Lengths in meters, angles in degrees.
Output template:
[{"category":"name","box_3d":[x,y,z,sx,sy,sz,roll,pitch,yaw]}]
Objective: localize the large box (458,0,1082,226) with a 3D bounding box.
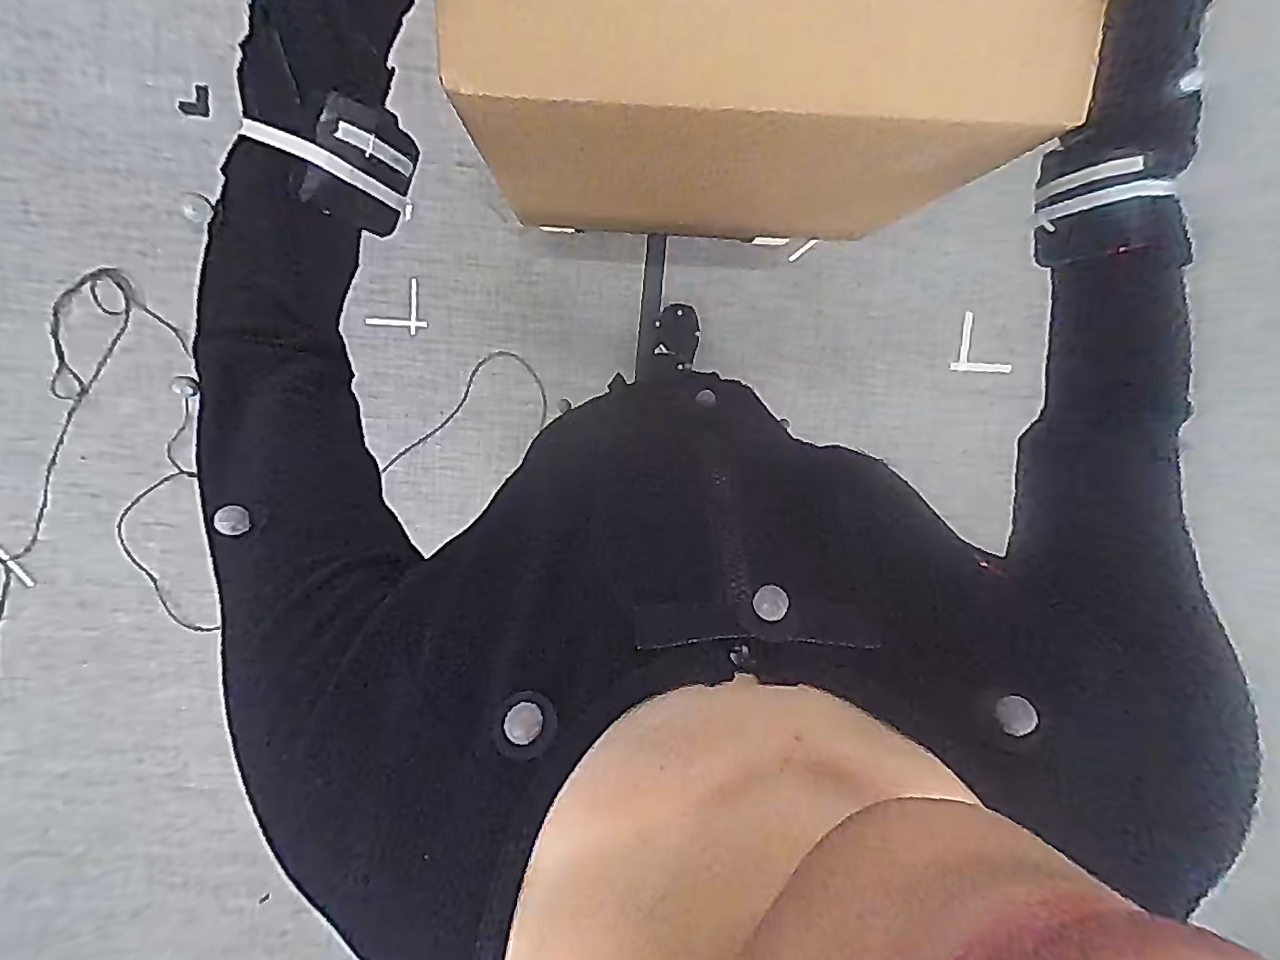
[{"category":"large box","box_3d":[0.075,-0.422,0.463,0.408,0.320,0.320,0,102,-4]}]
